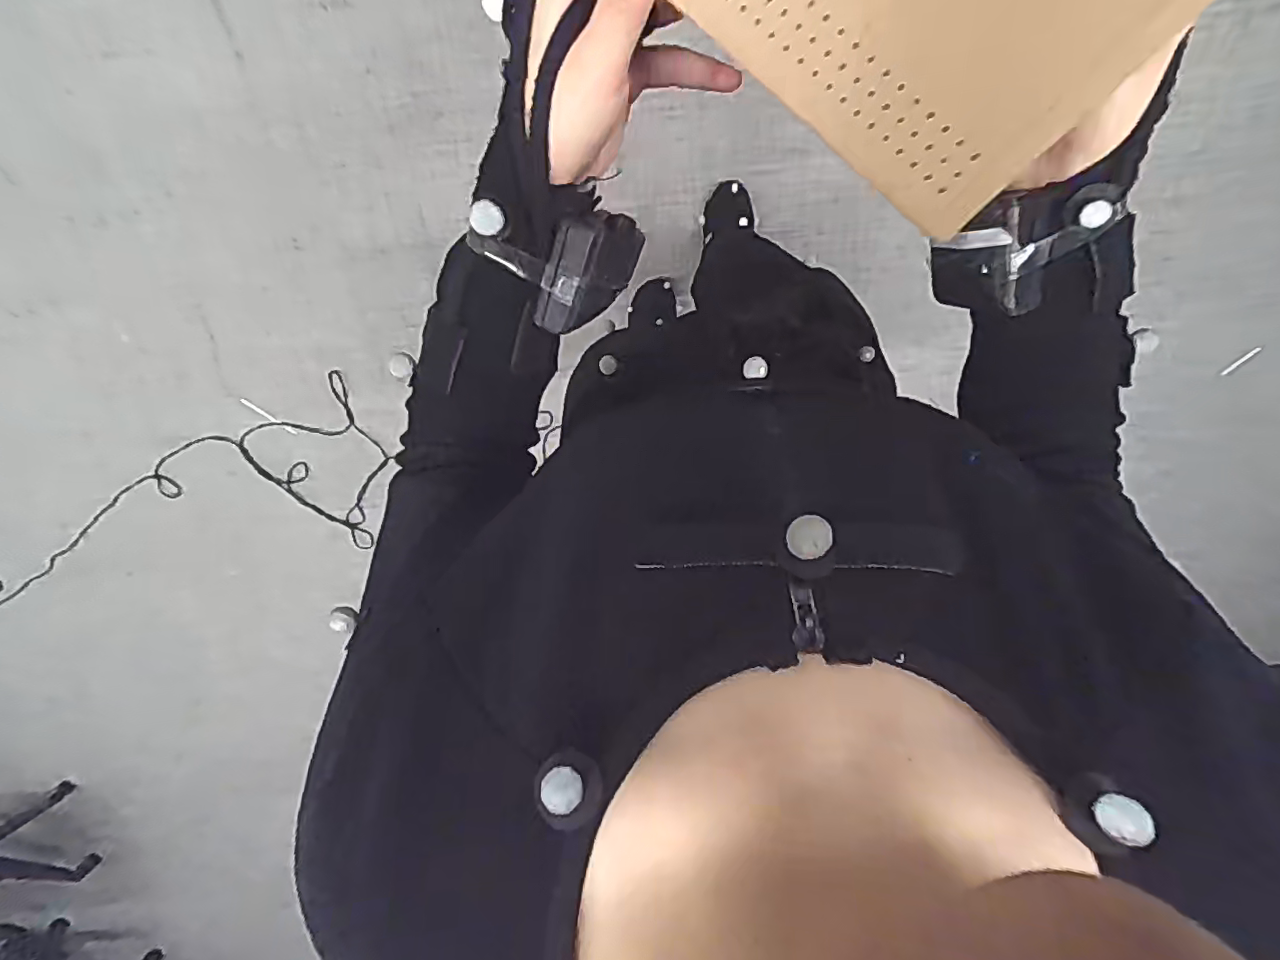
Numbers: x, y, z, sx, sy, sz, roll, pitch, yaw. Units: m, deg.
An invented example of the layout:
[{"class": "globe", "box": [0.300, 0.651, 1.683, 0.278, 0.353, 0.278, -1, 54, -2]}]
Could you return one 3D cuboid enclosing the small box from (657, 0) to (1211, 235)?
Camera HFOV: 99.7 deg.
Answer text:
[{"class": "small box", "box": [0.117, -0.221, 0.168, 0.179, 0.176, 0.168, 40, 64, 0]}]
